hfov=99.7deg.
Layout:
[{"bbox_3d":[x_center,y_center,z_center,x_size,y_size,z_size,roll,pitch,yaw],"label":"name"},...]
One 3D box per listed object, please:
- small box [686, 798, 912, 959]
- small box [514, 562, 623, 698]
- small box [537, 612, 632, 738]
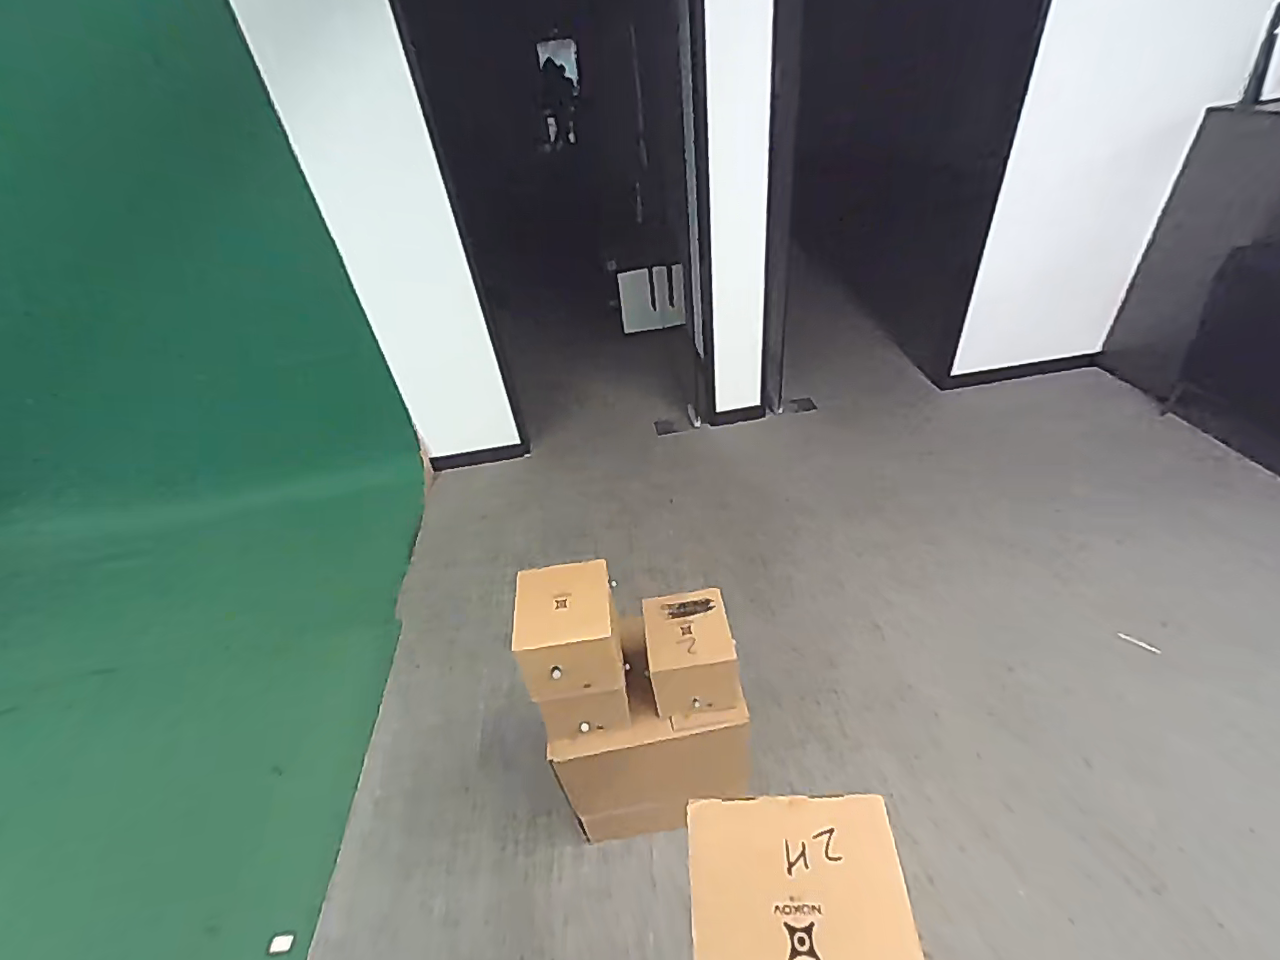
[{"bbox_3d":[0.134,0.396,0.476,0.168,0.176,0.179,-7,48,8],"label":"small box"},{"bbox_3d":[-0.126,0.281,0.996,0.168,0.176,0.179,-8,39,-2],"label":"small box"},{"bbox_3d":[-0.110,0.398,1.108,0.168,0.176,0.179,-8,40,-1],"label":"small box"}]
